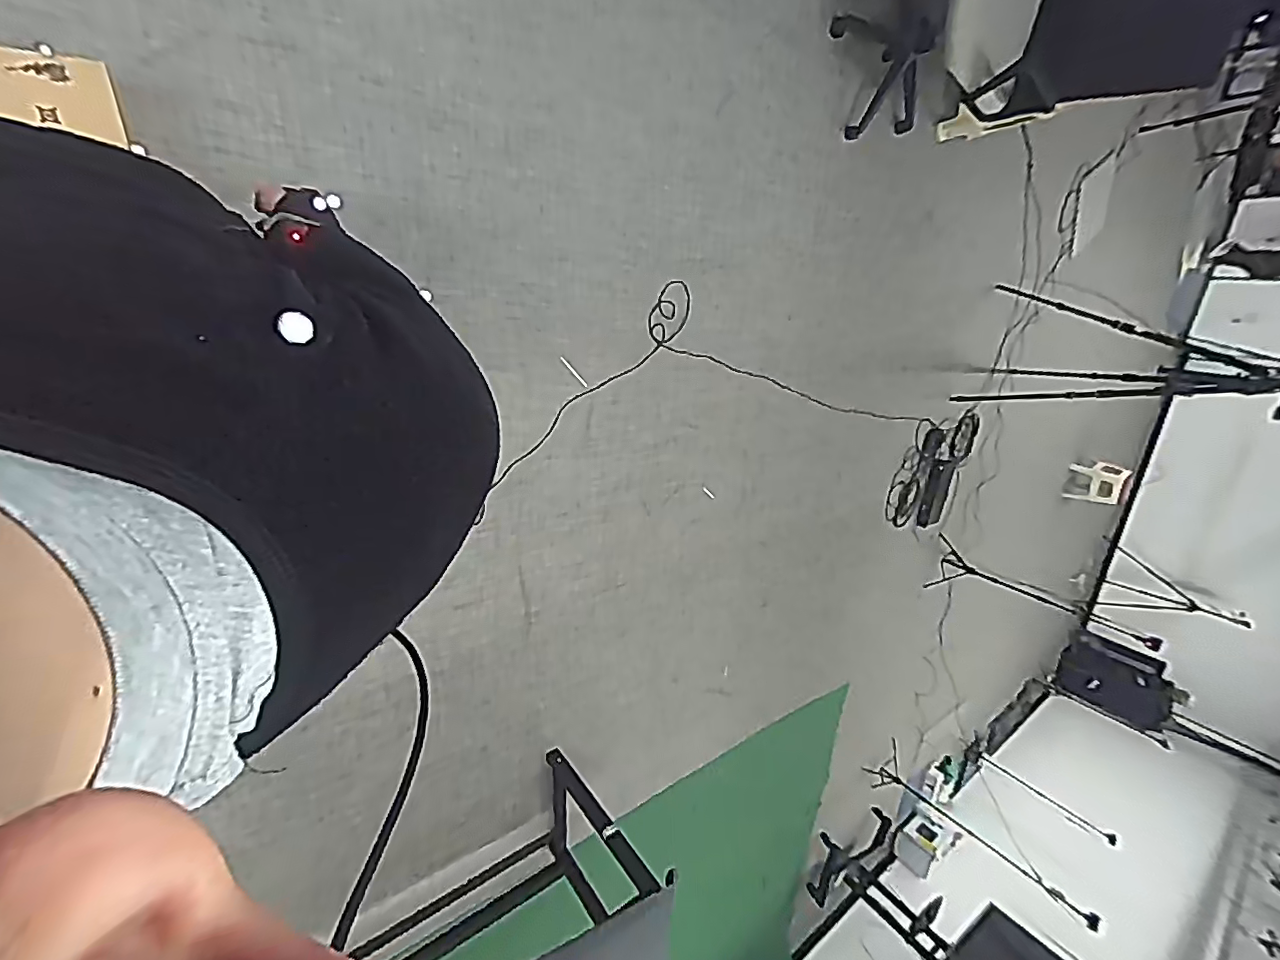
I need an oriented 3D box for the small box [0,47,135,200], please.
[{"bbox_3d":[-0.919,-0.540,0.836,0.168,0.176,0.179,-15,117,-34],"label":"small box"}]
